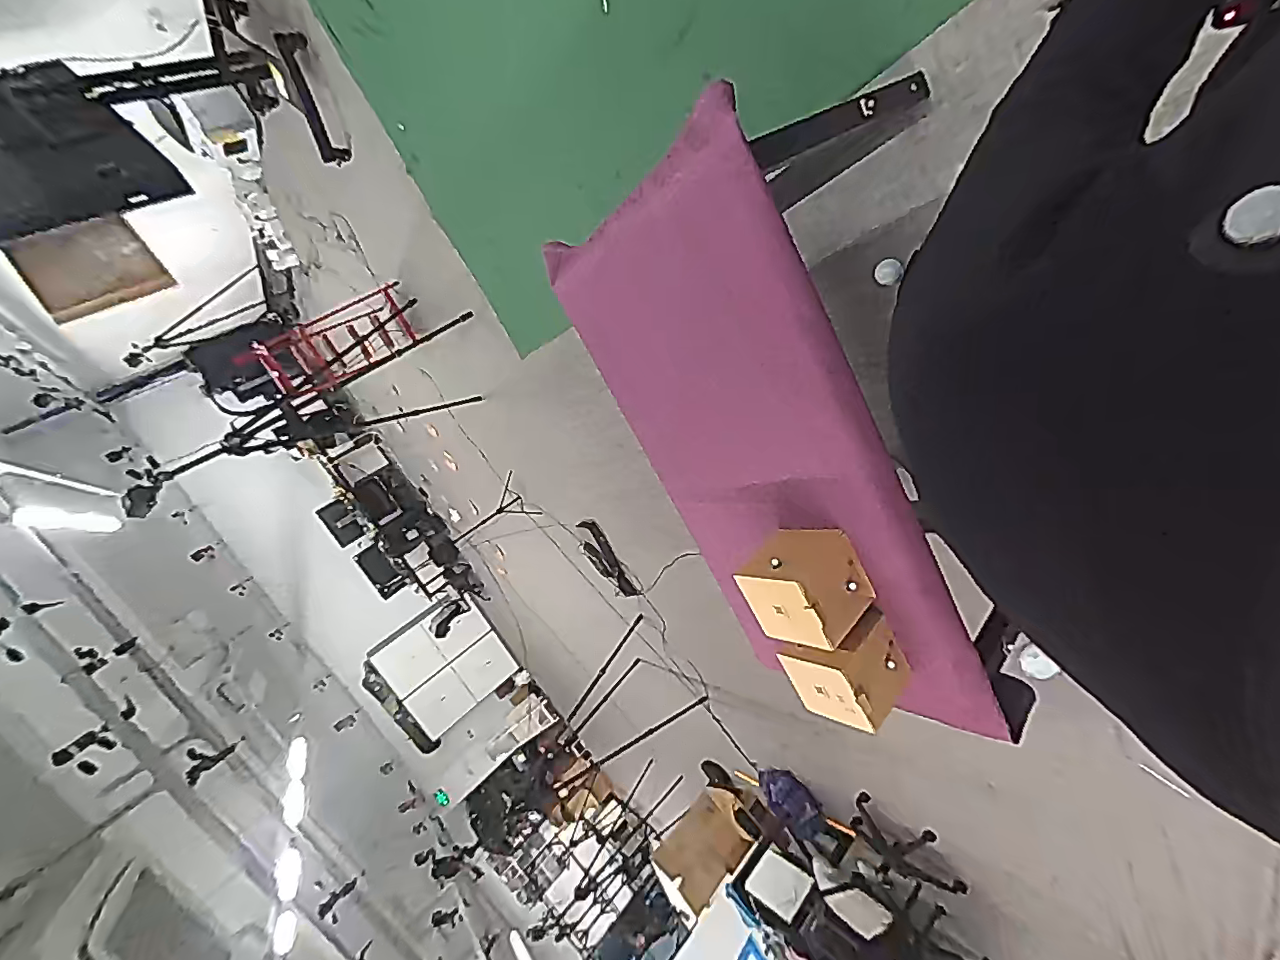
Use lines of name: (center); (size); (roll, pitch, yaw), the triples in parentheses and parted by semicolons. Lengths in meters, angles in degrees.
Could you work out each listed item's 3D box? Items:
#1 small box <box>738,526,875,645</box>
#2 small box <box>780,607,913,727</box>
small box: (0.341, 0.205, 1.105); (0.179, 0.176, 0.168); (-9, 115, 57)
small box: (0.440, 0.381, 1.151); (0.179, 0.176, 0.168); (-9, 114, 58)
